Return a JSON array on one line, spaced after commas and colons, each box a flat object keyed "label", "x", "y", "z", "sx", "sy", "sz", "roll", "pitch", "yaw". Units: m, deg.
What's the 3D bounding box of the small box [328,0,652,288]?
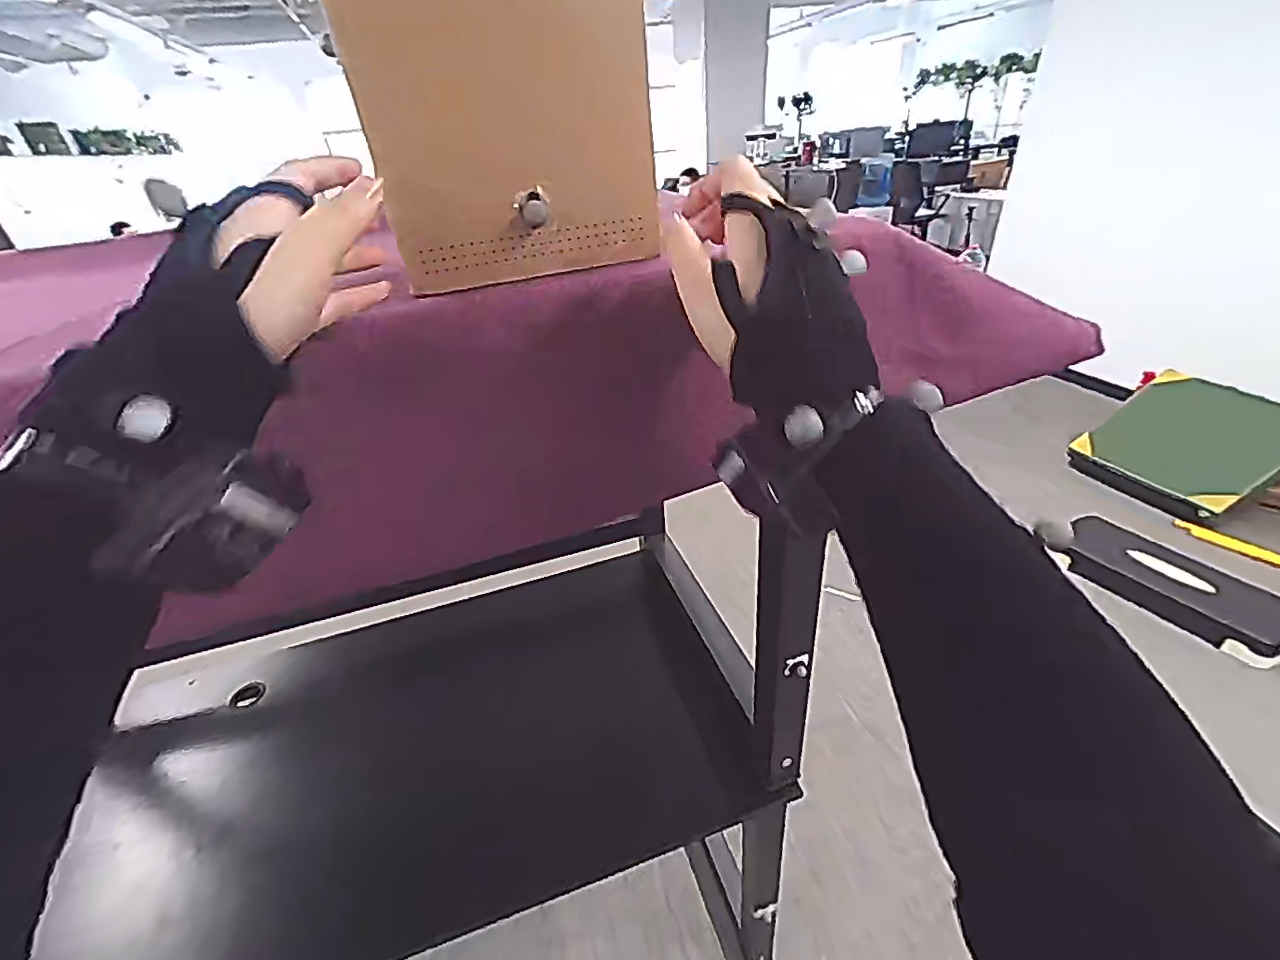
[{"label": "small box", "x": -0.096, "y": -0.248, "z": 0.388, "sx": 0.179, "sy": 0.176, "sz": 0.168, "roll": -15, "pitch": 32, "yaw": -14}]
